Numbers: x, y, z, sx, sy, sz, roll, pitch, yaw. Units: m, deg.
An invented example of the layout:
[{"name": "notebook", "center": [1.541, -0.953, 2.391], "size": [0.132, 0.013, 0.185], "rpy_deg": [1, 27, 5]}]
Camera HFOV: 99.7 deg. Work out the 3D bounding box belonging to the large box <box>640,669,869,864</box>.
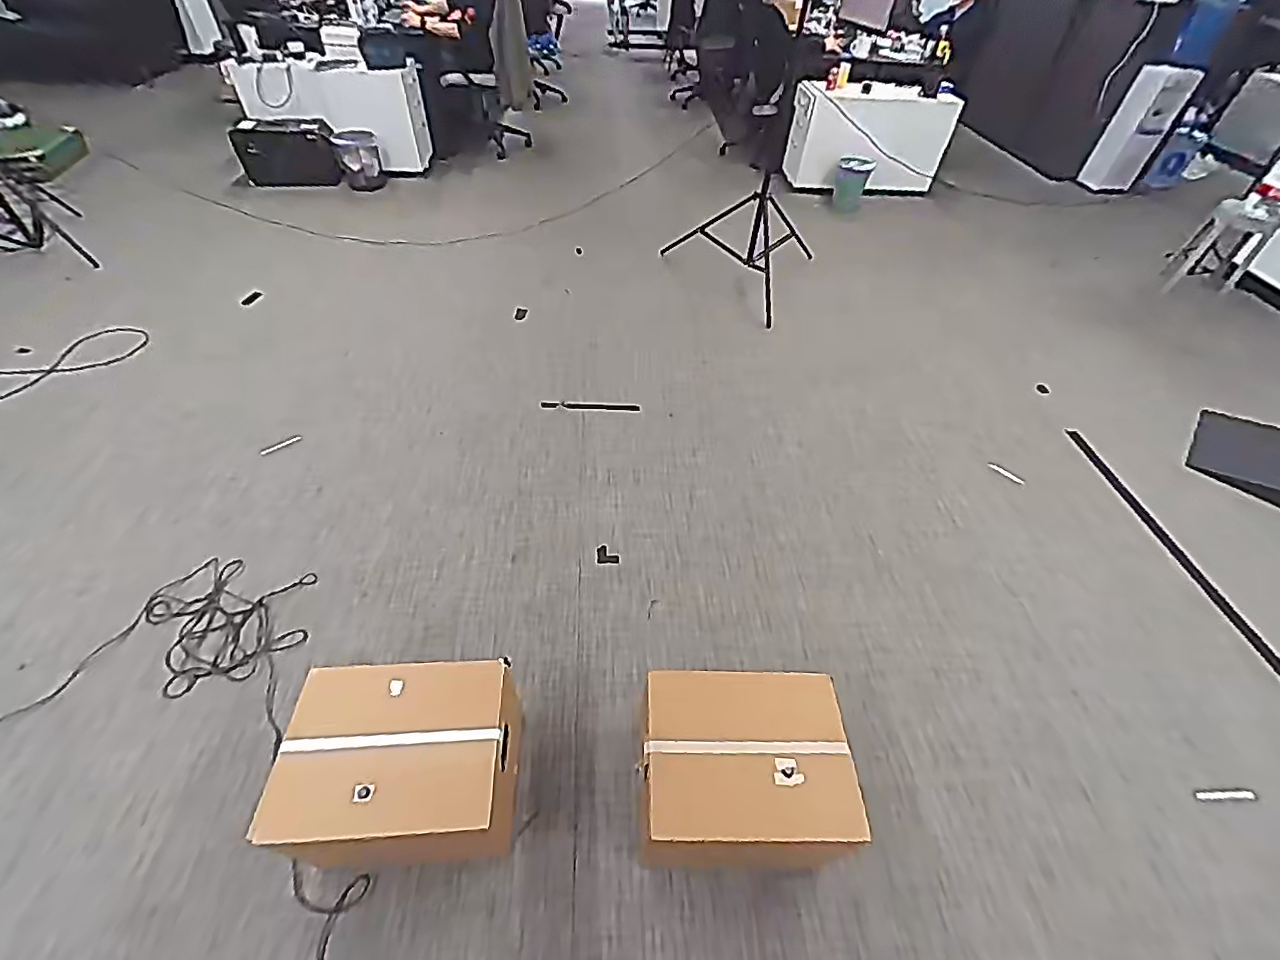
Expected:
[{"name": "large box", "center": [0.211, 0.631, 1.189], "size": [0.408, 0.320, 0.320], "rpy_deg": [3, 48, -3]}]
